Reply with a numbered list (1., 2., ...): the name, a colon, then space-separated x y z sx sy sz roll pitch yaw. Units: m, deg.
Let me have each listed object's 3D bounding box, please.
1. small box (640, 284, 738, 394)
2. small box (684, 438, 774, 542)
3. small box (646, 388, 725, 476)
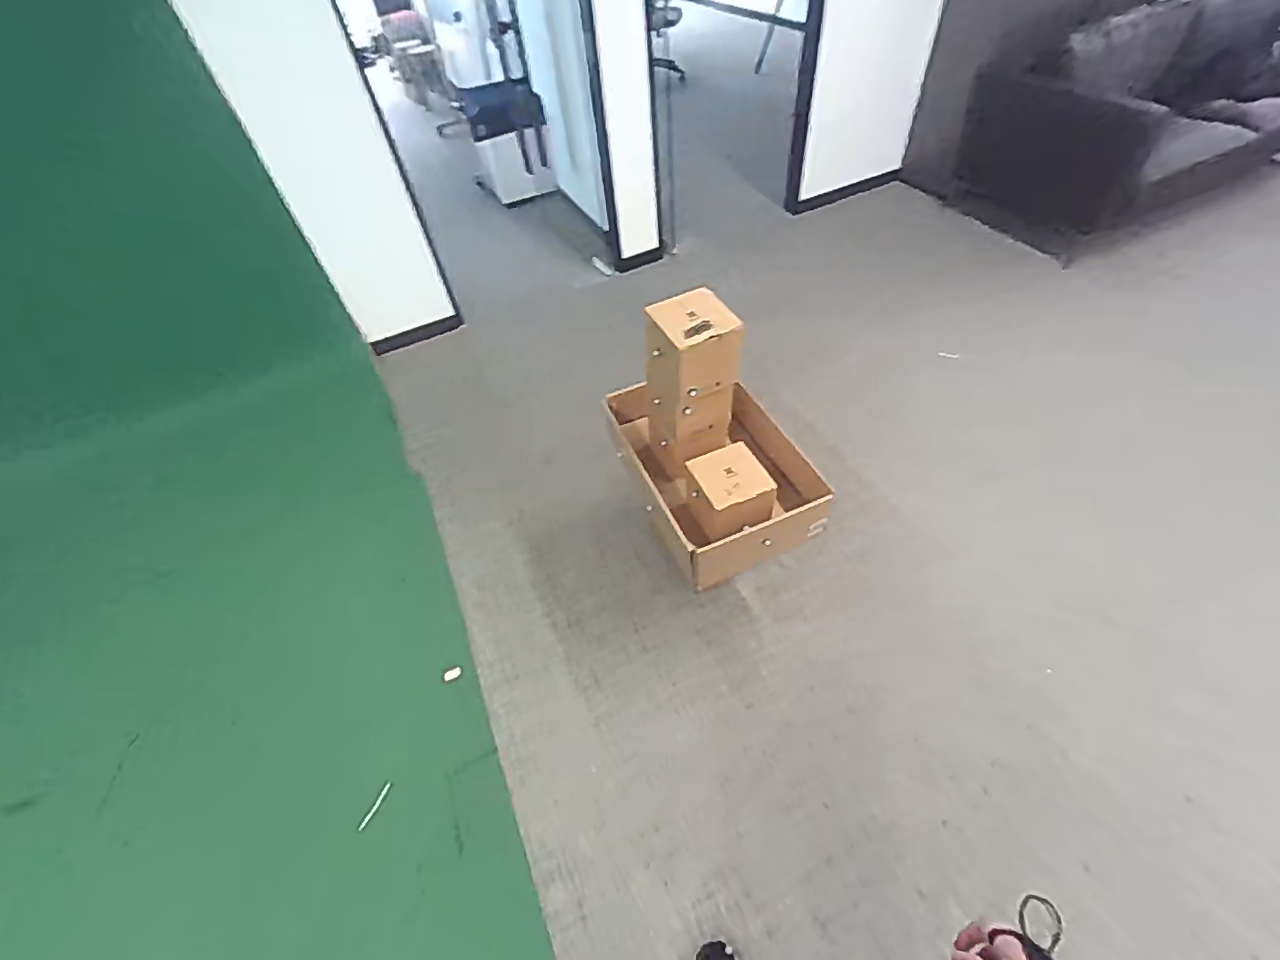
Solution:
1. small box: 0.115 -0.325 1.280 0.168 0.176 0.179 -24 54 -13
2. small box: 0.224 0.027 1.394 0.168 0.176 0.179 -21 50 -10
3. small box: 0.127 -0.143 1.554 0.168 0.176 0.179 -22 55 -12
